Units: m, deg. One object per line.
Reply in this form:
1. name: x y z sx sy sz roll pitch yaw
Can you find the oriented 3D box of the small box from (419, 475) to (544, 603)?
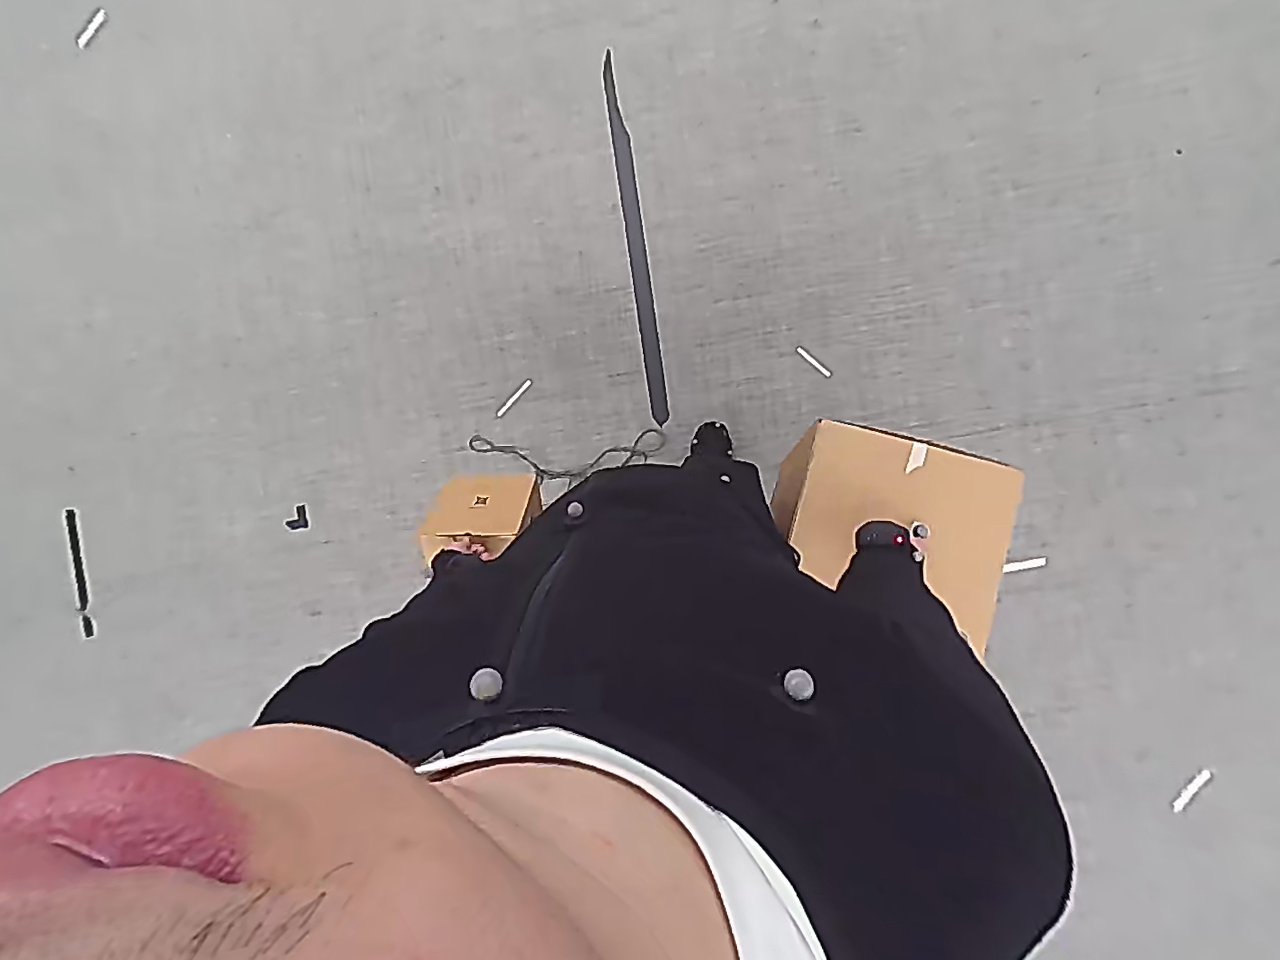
1. small box: -0.276 0.108 0.990 0.168 0.179 0.176 1 126 1
